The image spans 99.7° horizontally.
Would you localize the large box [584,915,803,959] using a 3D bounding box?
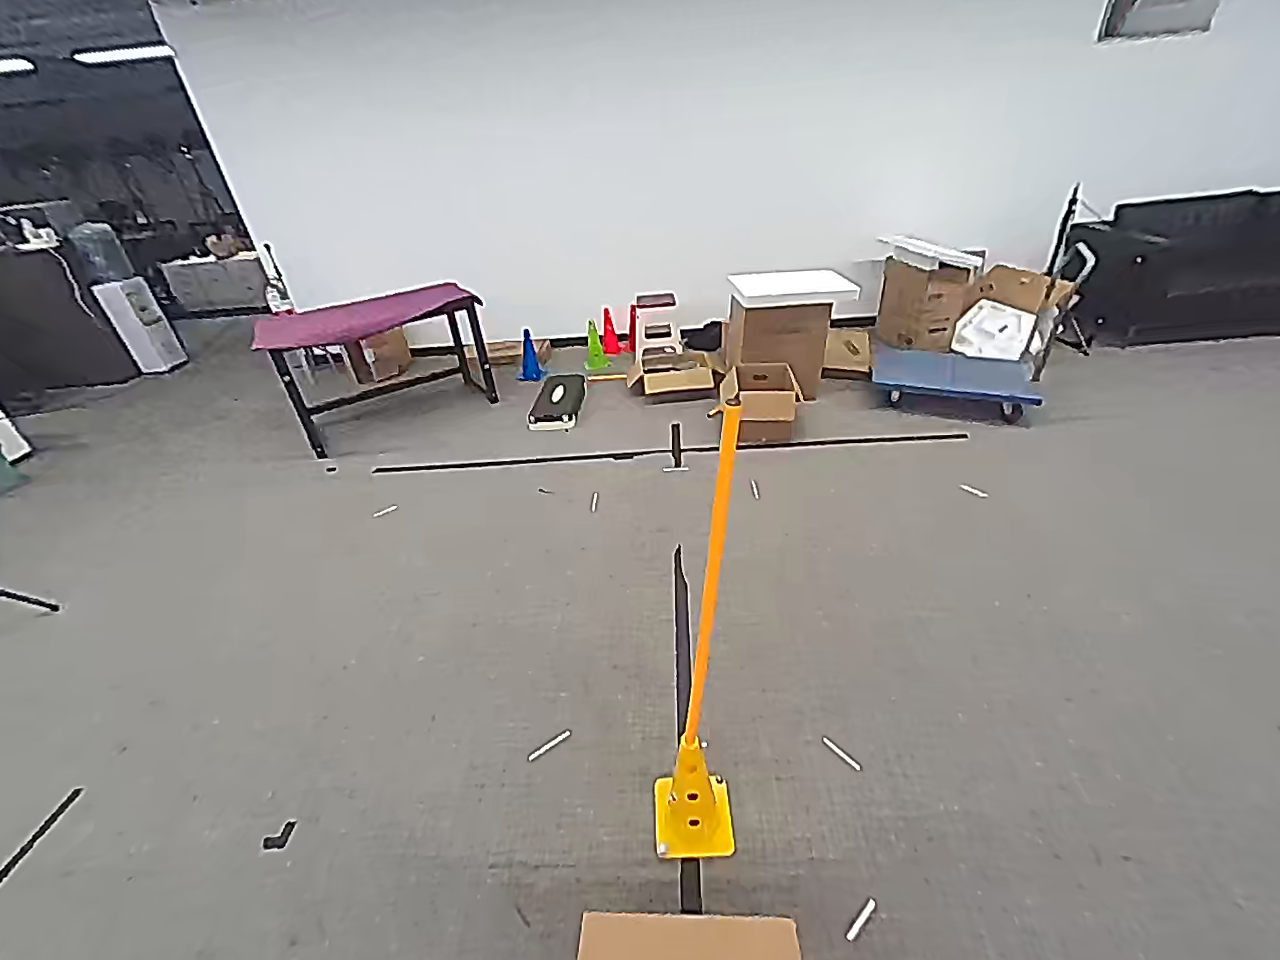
[{"bbox_3d":[0.106,1.039,0.979,0.408,0.320,0.320,-3,31,5],"label":"large box"}]
